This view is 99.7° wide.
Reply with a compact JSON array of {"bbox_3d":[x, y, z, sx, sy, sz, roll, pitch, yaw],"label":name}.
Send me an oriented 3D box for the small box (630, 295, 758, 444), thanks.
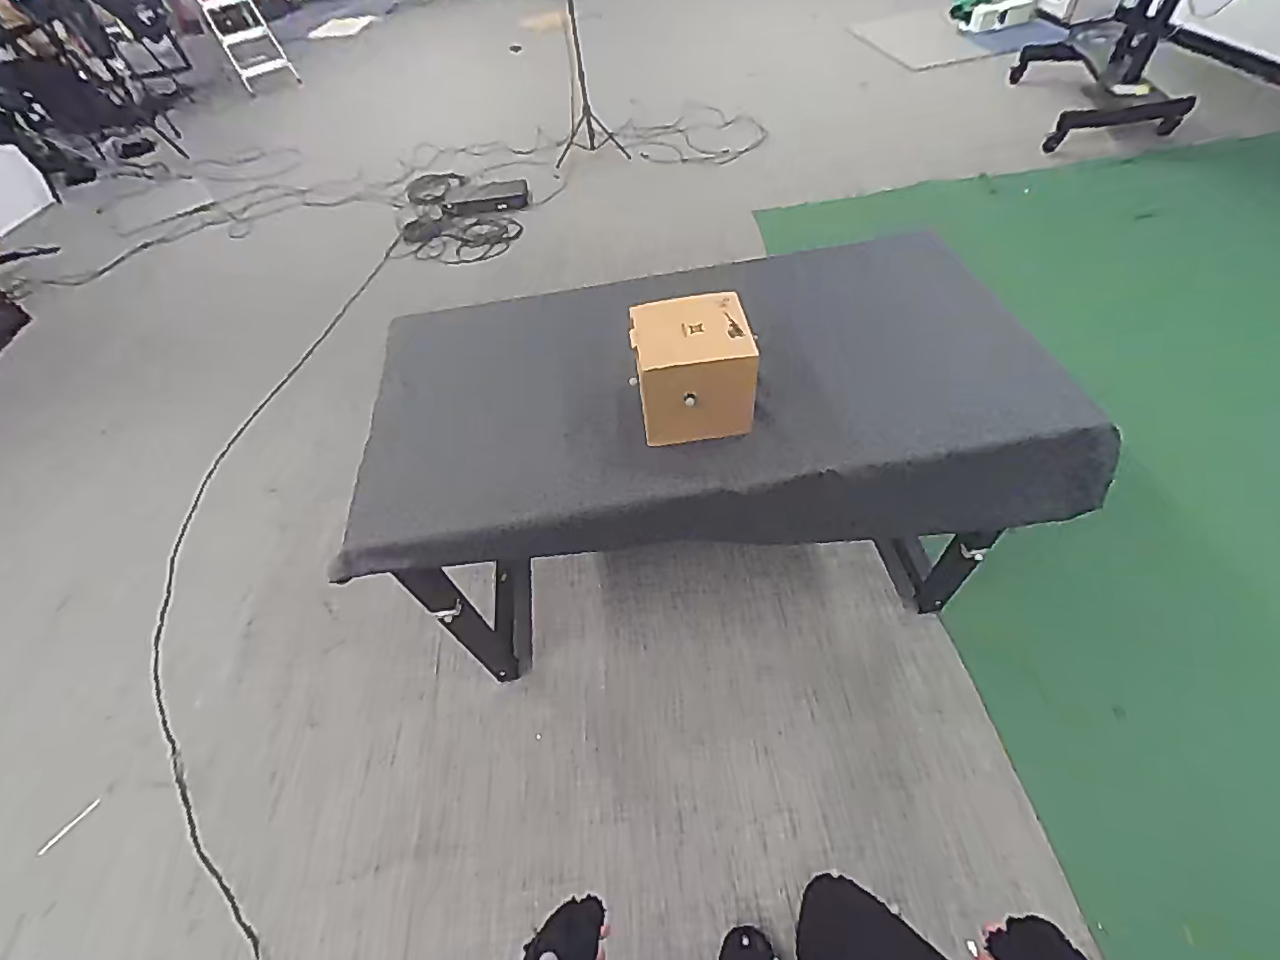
[{"bbox_3d":[0.087,-0.178,0.897,0.179,0.176,0.168,-9,51,-1],"label":"small box"}]
